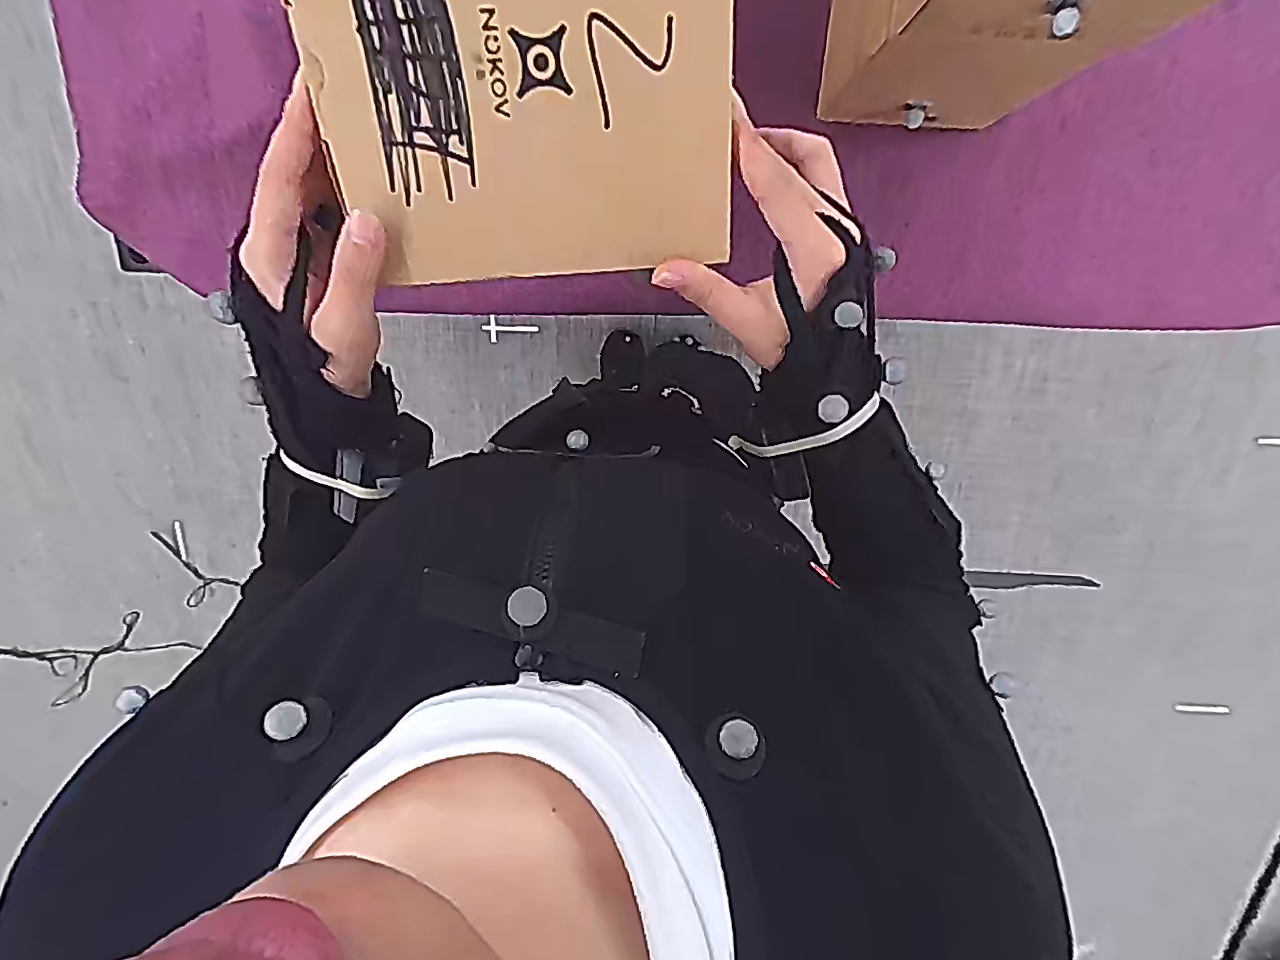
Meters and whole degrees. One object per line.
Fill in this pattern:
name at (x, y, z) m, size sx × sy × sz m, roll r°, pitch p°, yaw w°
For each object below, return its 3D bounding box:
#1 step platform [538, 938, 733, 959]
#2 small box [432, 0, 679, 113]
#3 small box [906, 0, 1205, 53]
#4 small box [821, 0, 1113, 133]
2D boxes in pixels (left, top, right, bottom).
step platform at (-0.015, 1.745, 1.808) m, size 0.684 × 0.204 × 0.286 m, roll 1°, pitch 107°, yaw -1°
small box at (-0.055, -0.421, 0.436) m, size 0.179 × 0.176 × 0.168 m, roll 2°, pitch 106°, yaw -1°
small box at (0.263, -0.366, 0.277) m, size 0.168 × 0.176 × 0.179 m, roll 4°, pitch 106°, yaw 0°
small box at (0.259, -0.412, 0.436) m, size 0.168 × 0.176 × 0.179 m, roll 3°, pitch 106°, yaw 0°
